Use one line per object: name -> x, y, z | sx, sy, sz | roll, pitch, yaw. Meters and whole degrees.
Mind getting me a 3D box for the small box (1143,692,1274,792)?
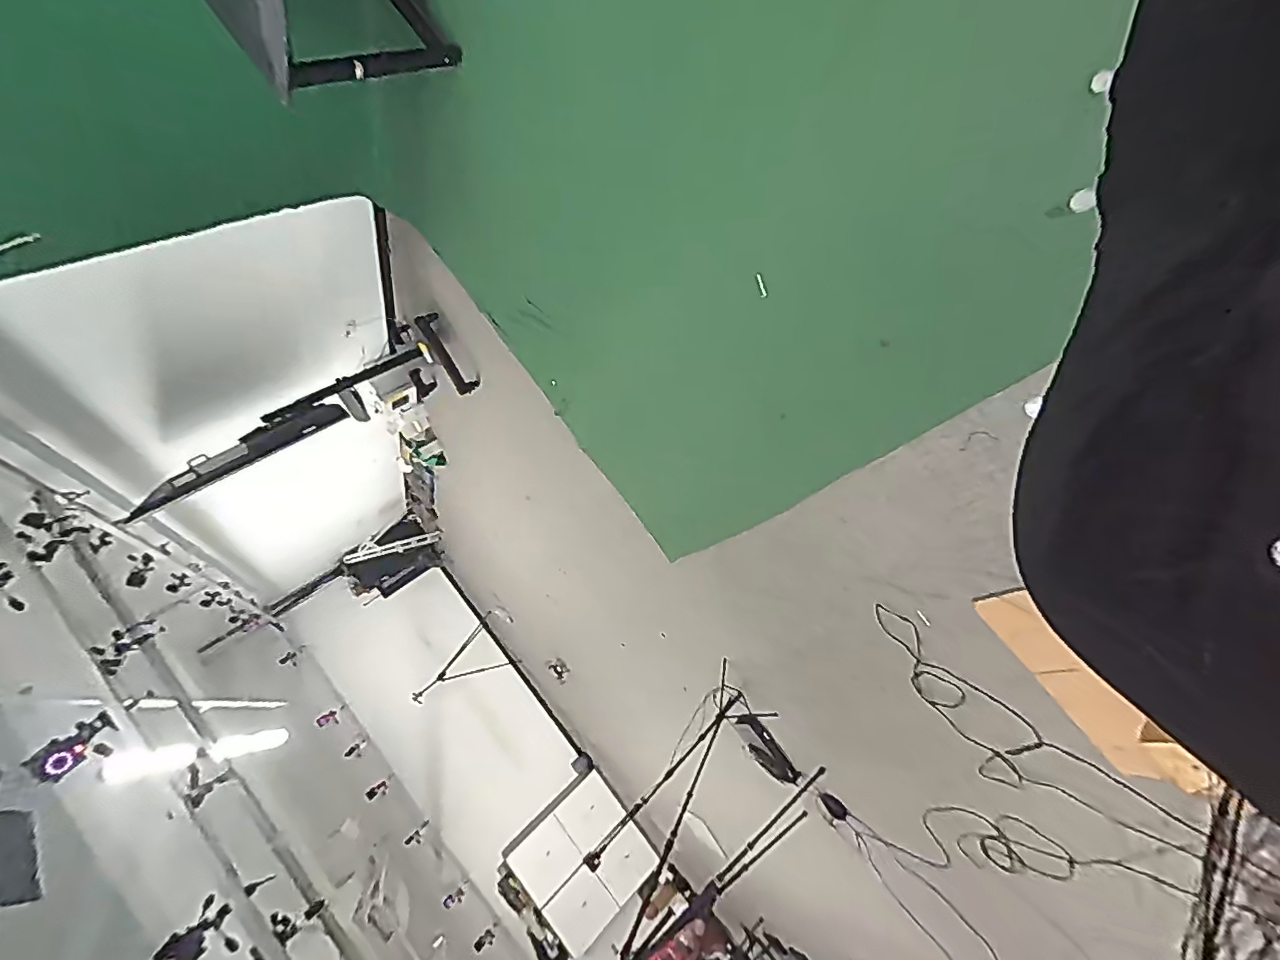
small box -> 1.483, 0.676, 1.409 | 0.168, 0.176, 0.179 | 49, 151, 8
